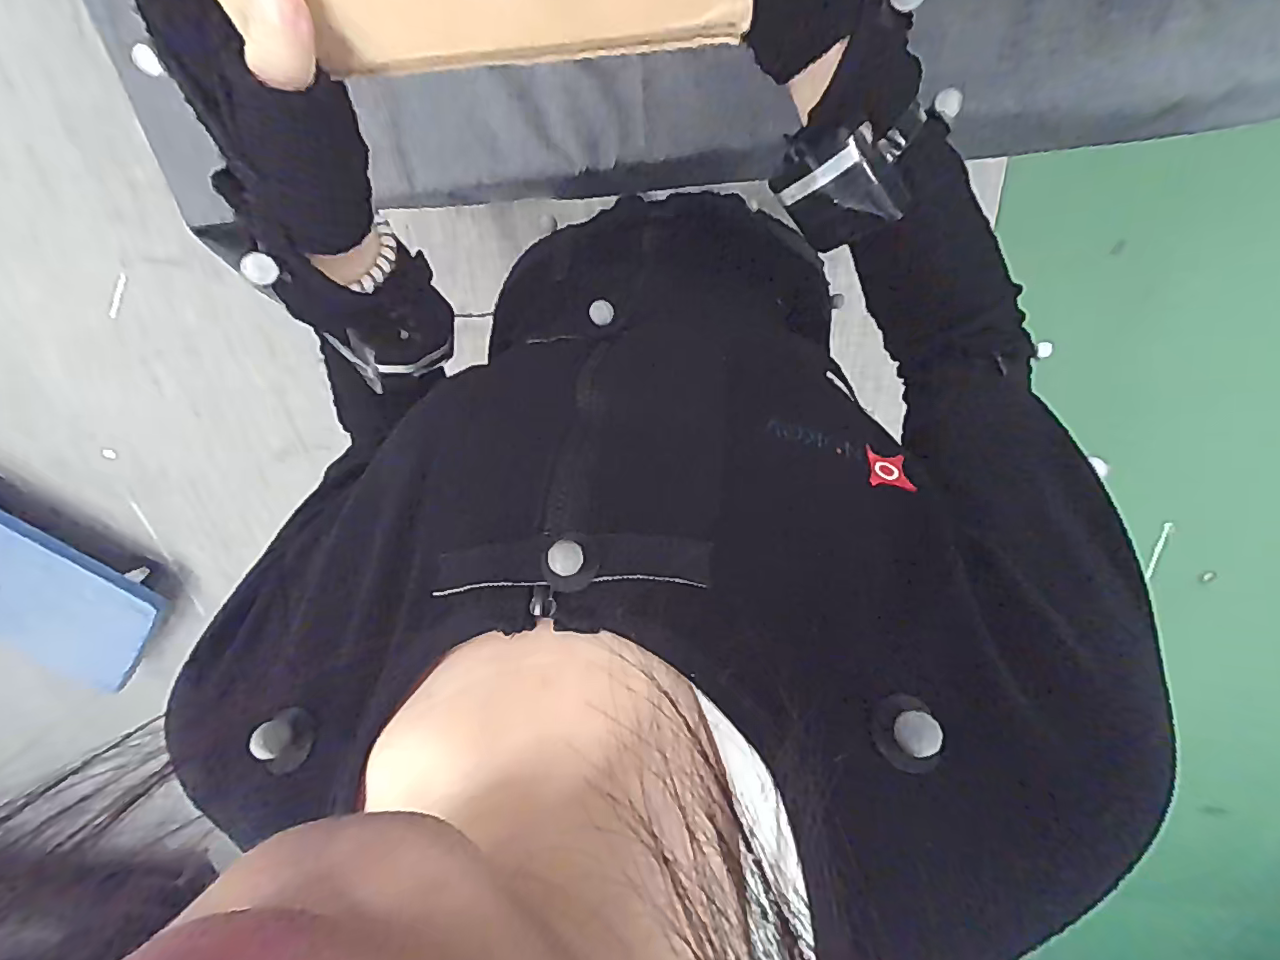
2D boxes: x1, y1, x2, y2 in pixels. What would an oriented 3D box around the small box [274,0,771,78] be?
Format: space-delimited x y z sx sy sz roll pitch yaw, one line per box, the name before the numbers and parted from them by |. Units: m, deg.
small box | -0.050 -0.258 0.147 0.179 0.168 0.176 -3 158 3
